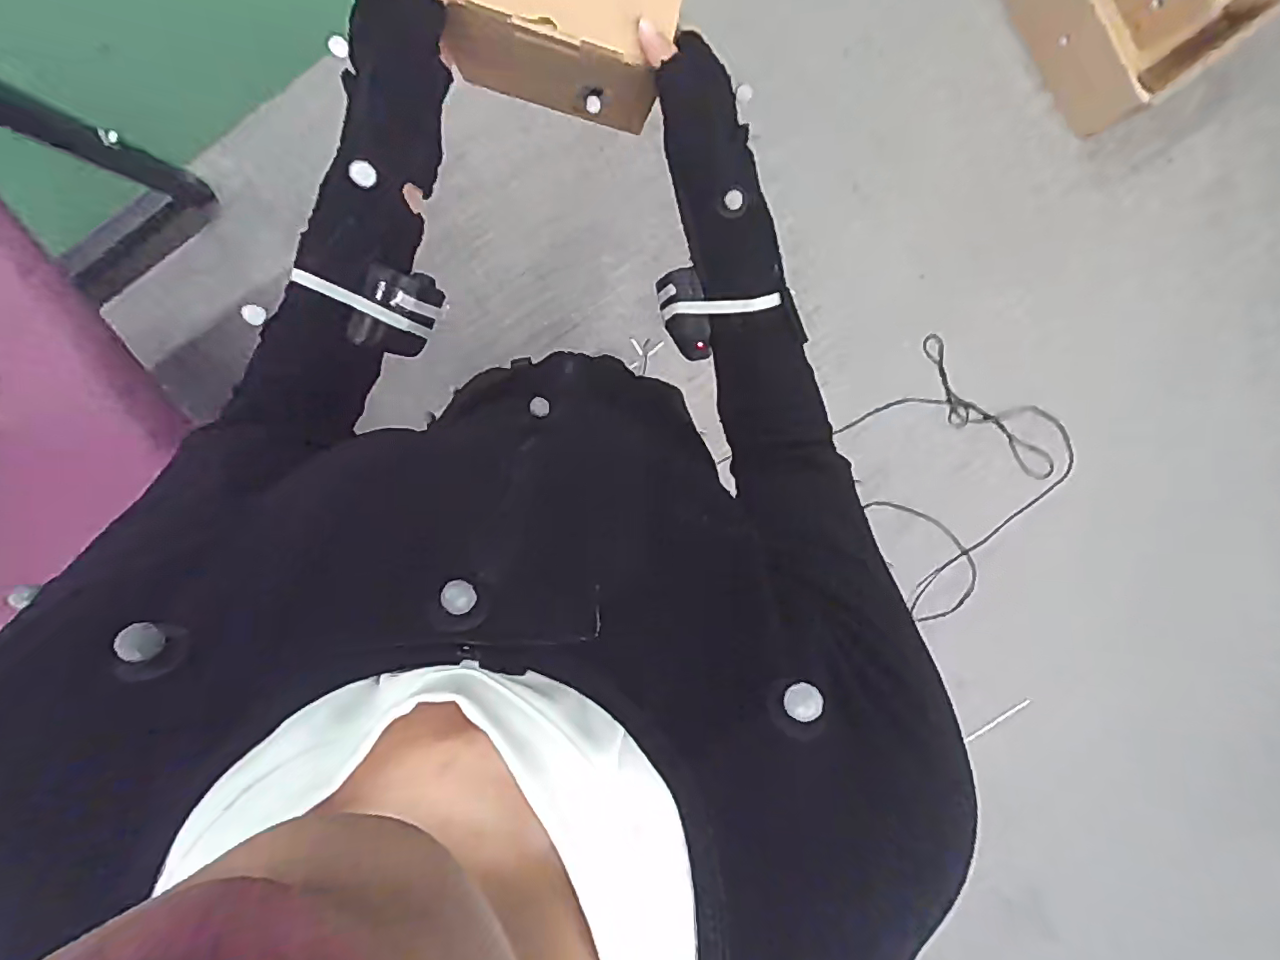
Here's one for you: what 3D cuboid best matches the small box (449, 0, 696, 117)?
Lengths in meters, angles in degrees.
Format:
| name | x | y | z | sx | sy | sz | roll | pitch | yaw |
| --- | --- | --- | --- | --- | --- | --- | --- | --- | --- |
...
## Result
| name | x | y | z | sx | sy | sz | roll | pitch | yaw |
| --- | --- | --- | --- | --- | --- | --- | --- | --- | --- |
| small box | -0.035 | -0.391 | 0.378 | 0.168 | 0.176 | 0.179 | 12 | 108 | -11 |

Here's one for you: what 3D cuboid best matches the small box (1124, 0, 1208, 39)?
| name | x | y | z | sx | sy | sz | roll | pitch | yaw |
| --- | --- | --- | --- | --- | --- | --- | --- | --- | --- |
| small box | 1.217 | -1.140 | 1.189 | 0.179 | 0.176 | 0.168 | -41 | 98 | 4 |
